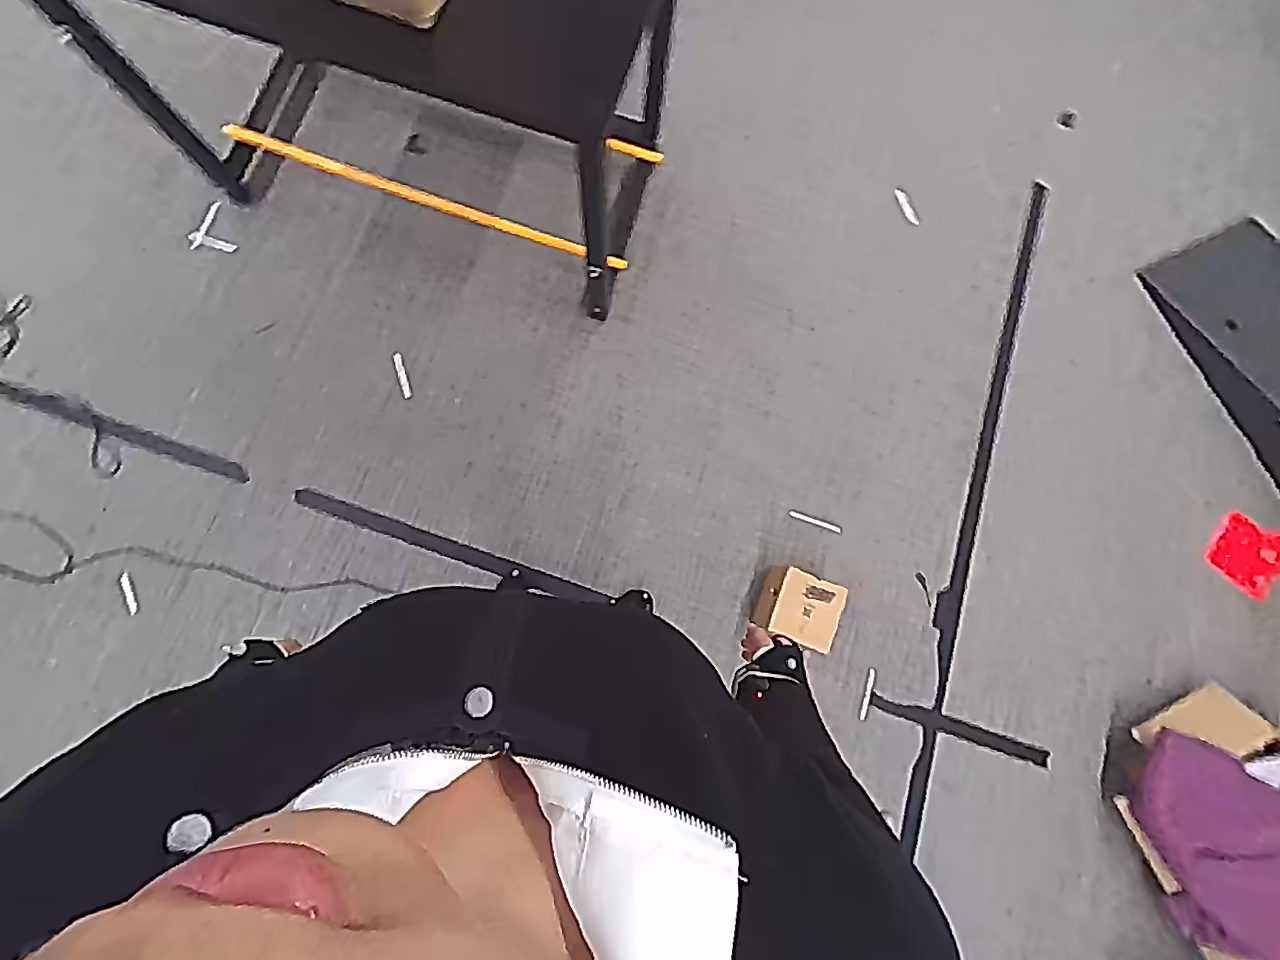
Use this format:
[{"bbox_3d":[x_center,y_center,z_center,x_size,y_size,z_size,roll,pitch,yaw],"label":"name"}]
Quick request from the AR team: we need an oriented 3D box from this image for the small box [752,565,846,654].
[{"bbox_3d":[0.417,0.338,1.444,0.168,0.176,0.179,22,81,1],"label":"small box"}]
